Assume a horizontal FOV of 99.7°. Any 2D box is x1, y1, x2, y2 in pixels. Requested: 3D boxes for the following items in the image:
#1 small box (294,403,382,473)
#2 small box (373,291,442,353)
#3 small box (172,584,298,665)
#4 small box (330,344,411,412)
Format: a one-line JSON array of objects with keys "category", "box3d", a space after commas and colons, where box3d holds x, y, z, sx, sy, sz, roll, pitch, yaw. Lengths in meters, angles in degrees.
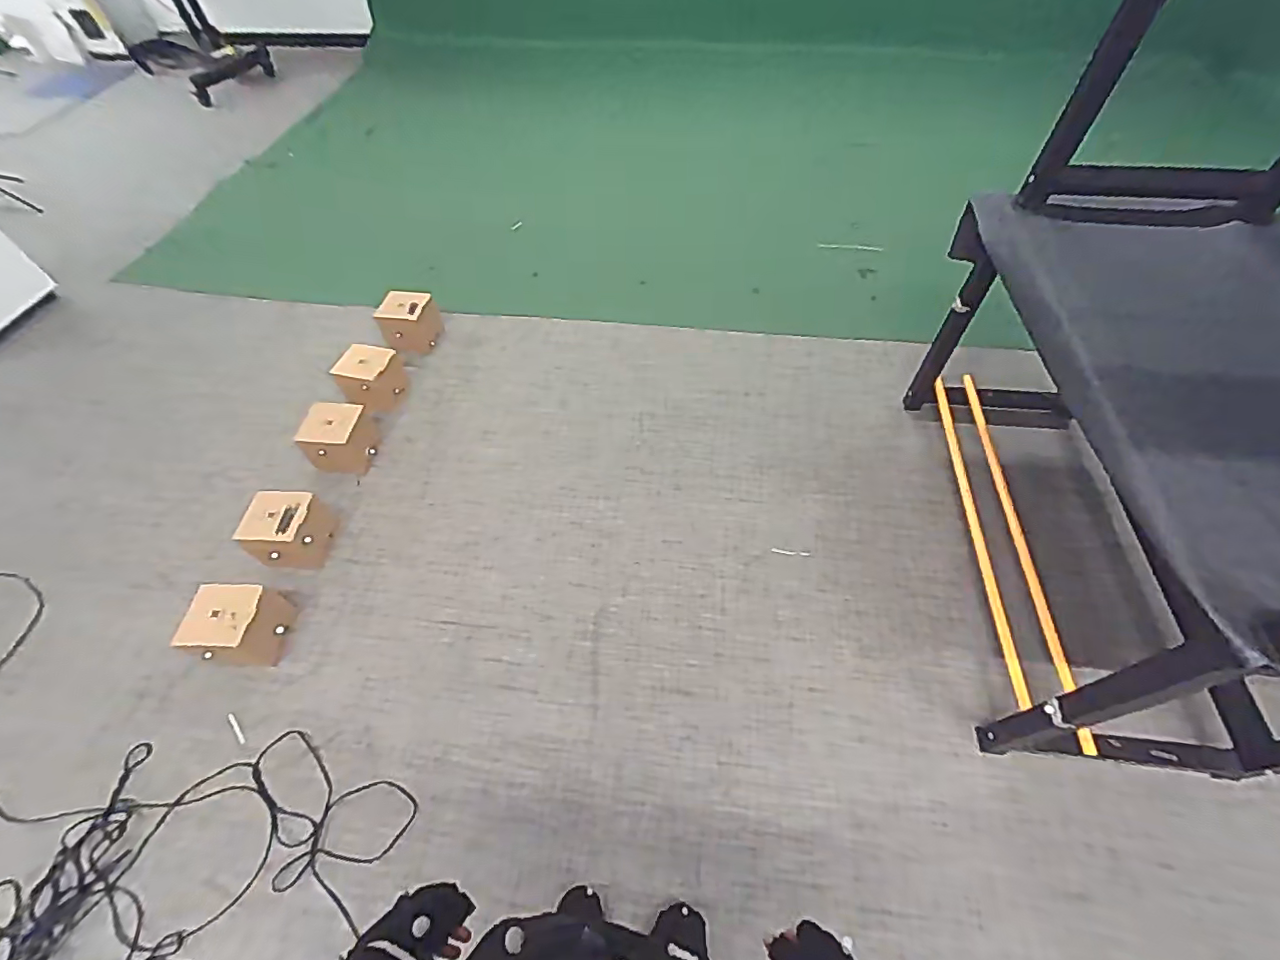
[{"category": "small box", "box3d": [-1.003, -0.139, 1.811, 0.179, 0.176, 0.168, 4, 57, 2]}, {"category": "small box", "box3d": [-0.916, -0.626, 2.157, 0.179, 0.176, 0.168, 6, 55, 7]}, {"category": "small box", "box3d": [-1.065, 0.388, 1.439, 0.179, 0.176, 0.168, 1, 56, 1]}, {"category": "small box", "box3d": [-0.977, -0.370, 1.976, 0.179, 0.176, 0.168, 11, 56, 8]}]
